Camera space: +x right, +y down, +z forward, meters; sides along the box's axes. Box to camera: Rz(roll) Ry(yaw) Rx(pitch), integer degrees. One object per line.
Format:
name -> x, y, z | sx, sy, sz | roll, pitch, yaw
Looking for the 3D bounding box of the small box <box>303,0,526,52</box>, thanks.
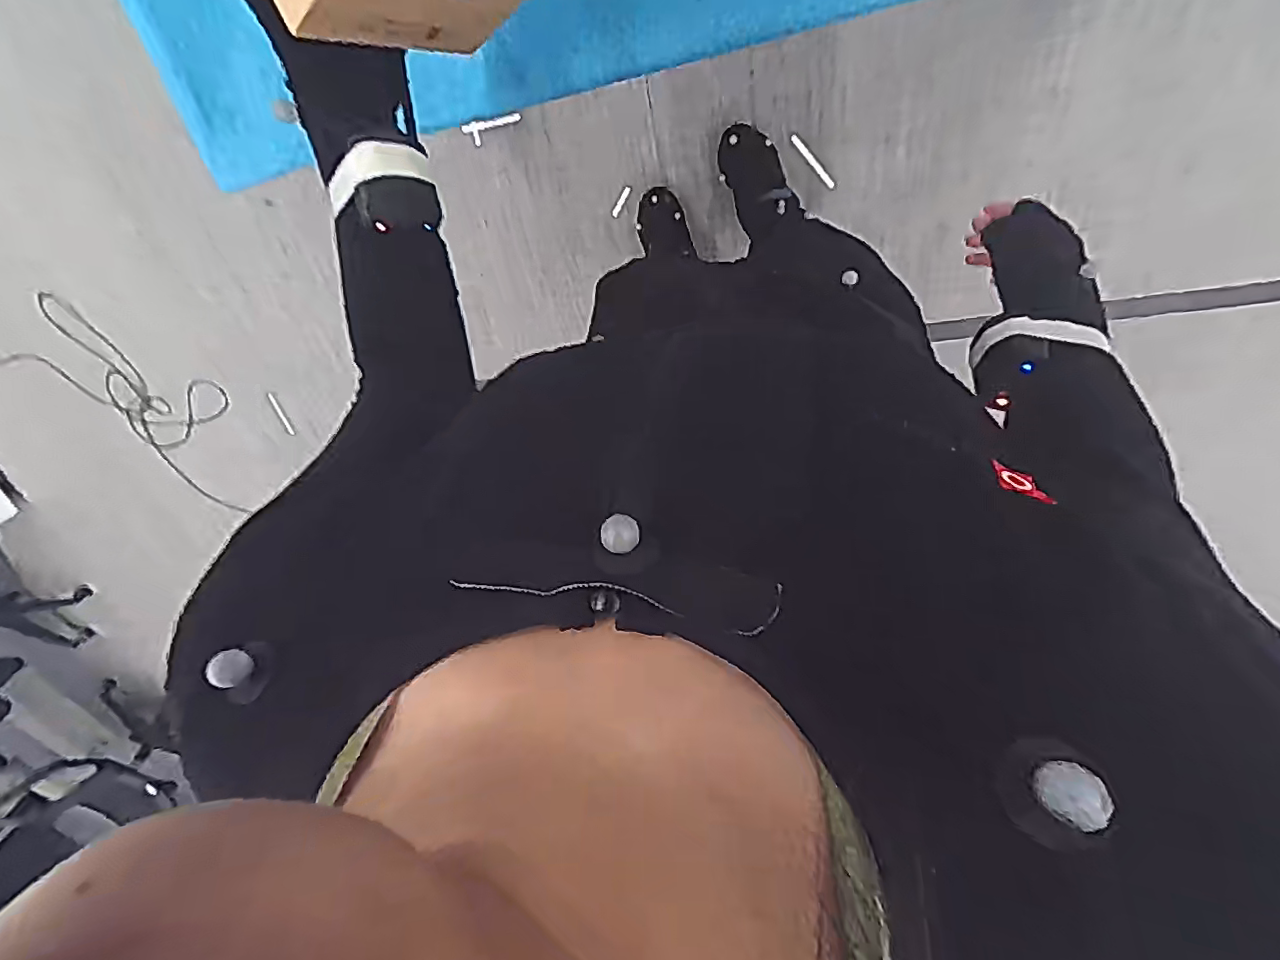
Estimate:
small box -> -0.144, -0.402, 0.324 | 0.176, 0.168, 0.179 | -11, 114, 36
